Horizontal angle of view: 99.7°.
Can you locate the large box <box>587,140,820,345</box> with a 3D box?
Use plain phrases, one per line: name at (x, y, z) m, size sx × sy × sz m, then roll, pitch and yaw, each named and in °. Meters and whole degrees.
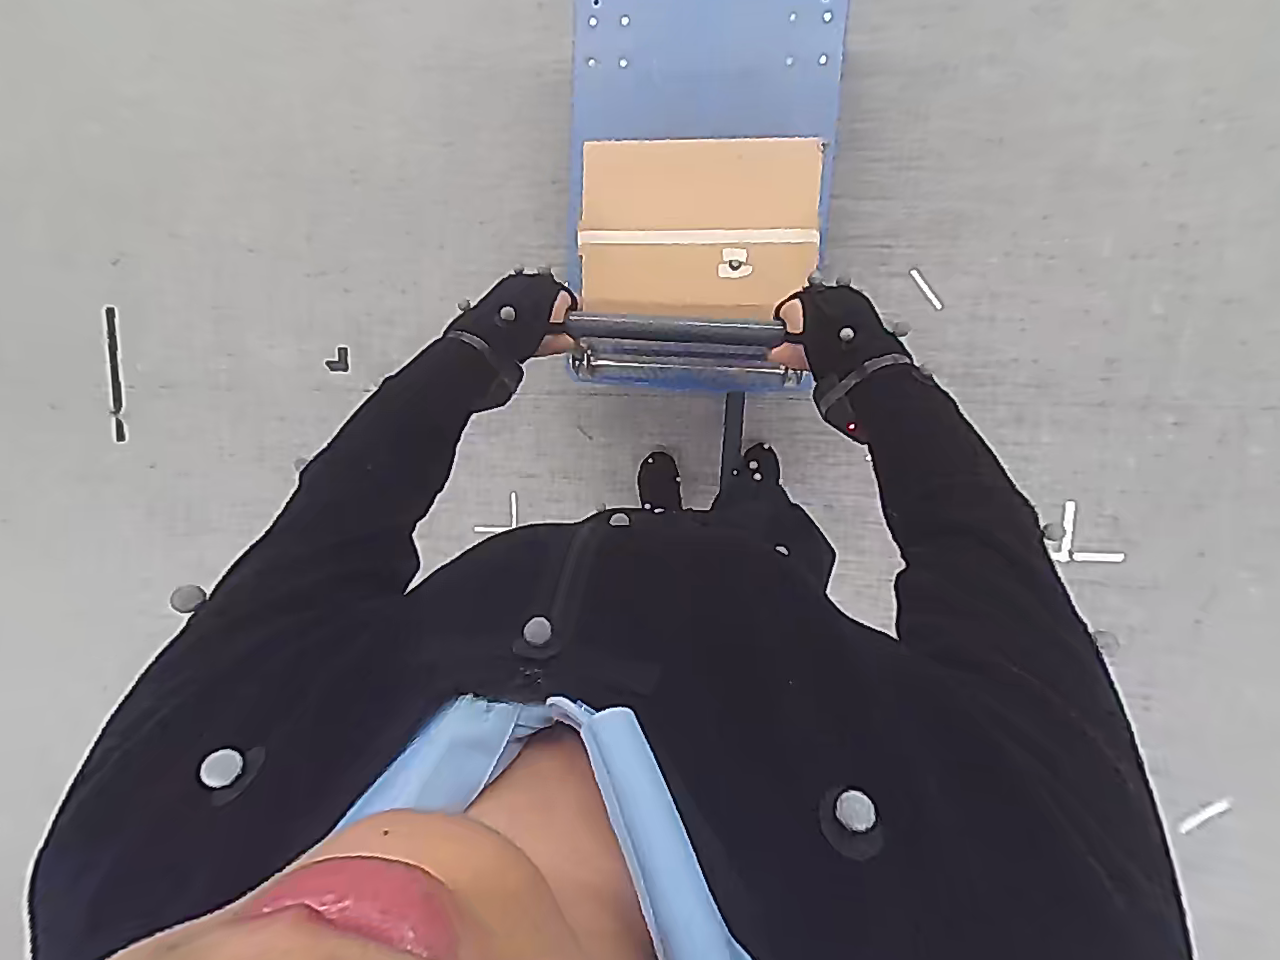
large box at (0.116, -0.446, 1.093) m, size 0.408 × 0.320 × 0.320 m, roll 2°, pitch 100°, yaw 5°
